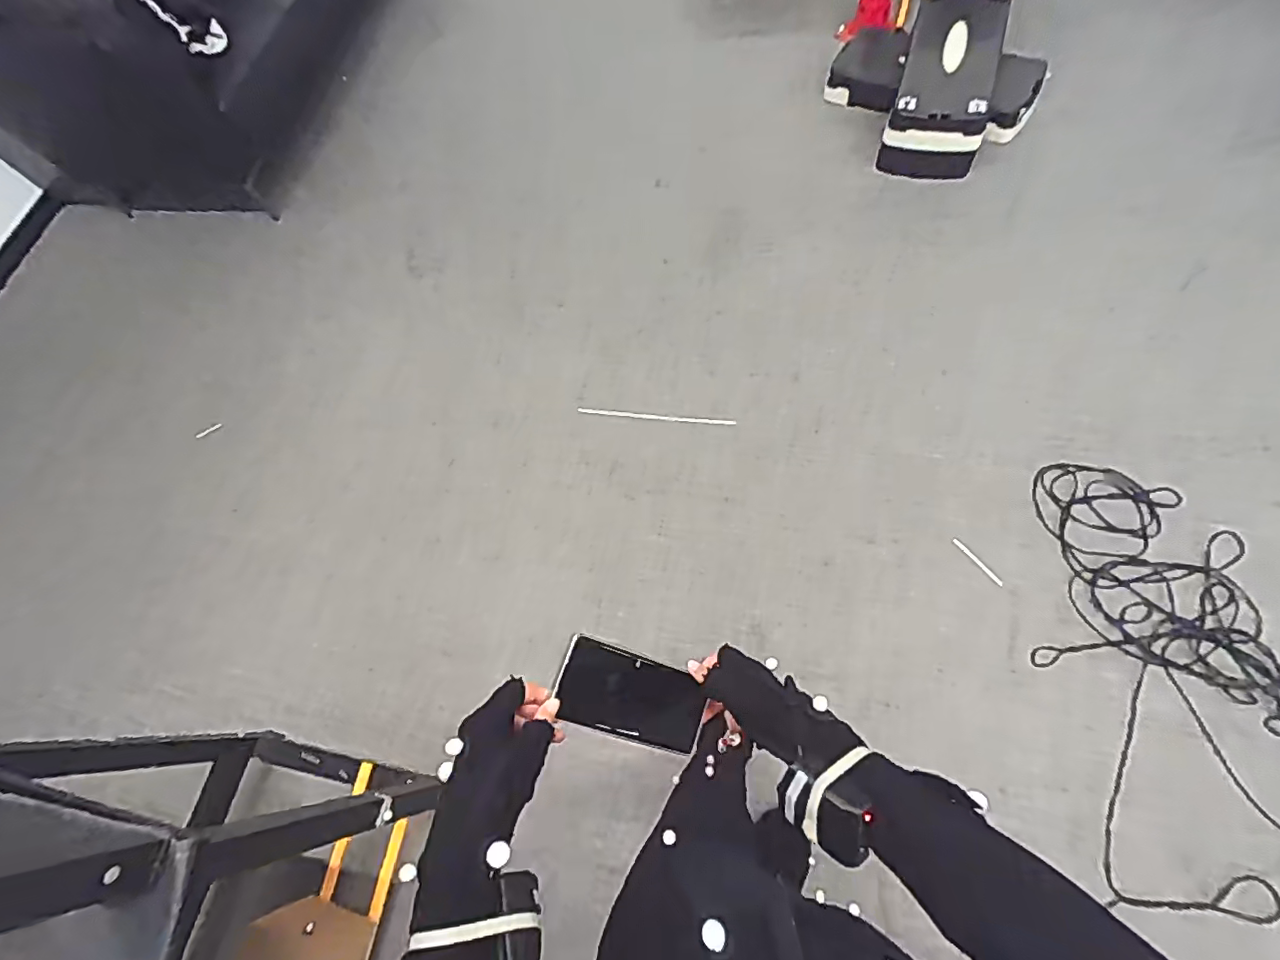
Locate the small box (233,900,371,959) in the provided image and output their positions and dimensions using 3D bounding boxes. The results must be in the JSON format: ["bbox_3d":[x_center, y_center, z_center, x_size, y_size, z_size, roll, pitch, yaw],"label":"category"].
[{"bbox_3d":[-0.661,0.949,1.039,0.179,0.176,0.168,10,69,13],"label":"small box"}]
